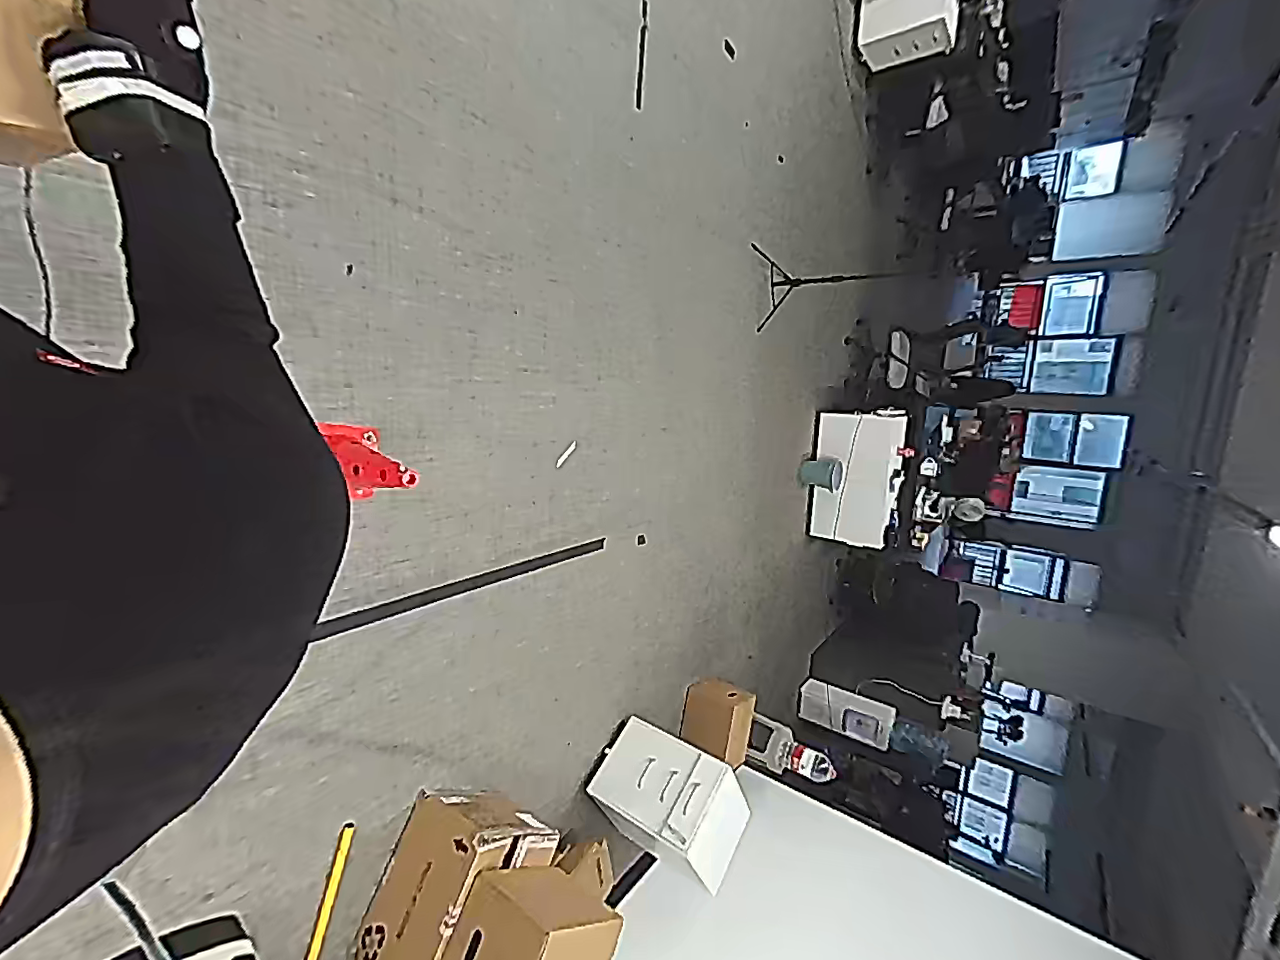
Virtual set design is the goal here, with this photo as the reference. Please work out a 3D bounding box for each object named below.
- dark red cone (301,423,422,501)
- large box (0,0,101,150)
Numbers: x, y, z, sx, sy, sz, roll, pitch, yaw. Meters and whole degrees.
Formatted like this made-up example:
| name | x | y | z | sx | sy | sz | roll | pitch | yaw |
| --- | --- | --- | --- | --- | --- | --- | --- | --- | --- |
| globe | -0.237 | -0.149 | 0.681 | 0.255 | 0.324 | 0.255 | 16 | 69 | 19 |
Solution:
| name | x | y | z | sx | sy | sz | roll | pitch | yaw |
| --- | --- | --- | --- | --- | --- | --- | --- | --- | --- |
| dark red cone | -0.653 | -0.023 | 1.324 | 0.201 | 0.394 | 0.202 | 0 | 98 | -52 |
| large box | -0.609 | -0.396 | 0.264 | 0.408 | 0.320 | 0.320 | -19 | 121 | -53 |
